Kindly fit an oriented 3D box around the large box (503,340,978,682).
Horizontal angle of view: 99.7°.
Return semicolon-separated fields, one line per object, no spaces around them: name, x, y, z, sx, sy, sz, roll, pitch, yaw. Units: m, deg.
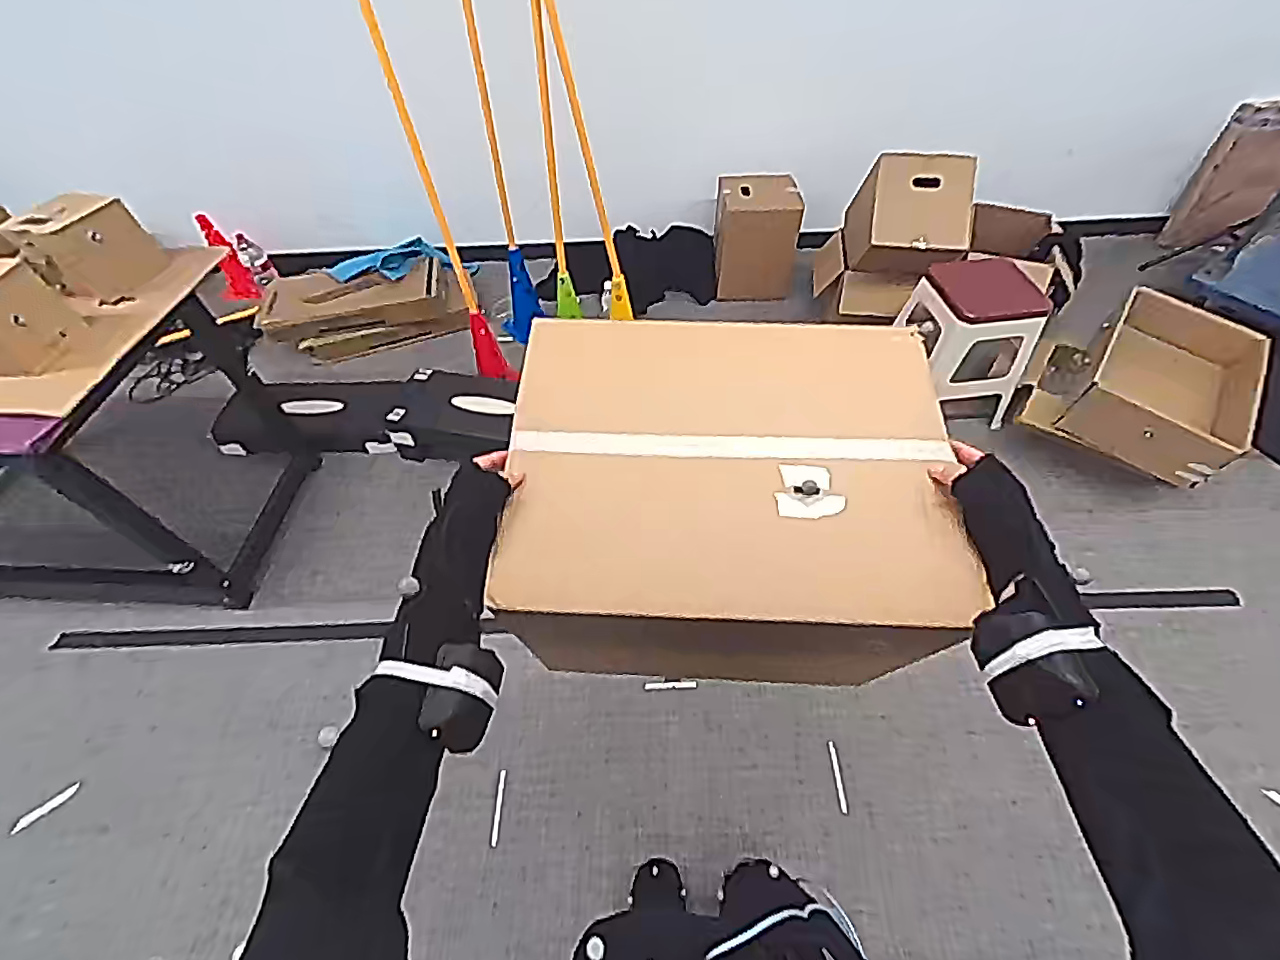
large box;0.087;0.055;0.648;0.408;0.320;0.320;2;62;2
